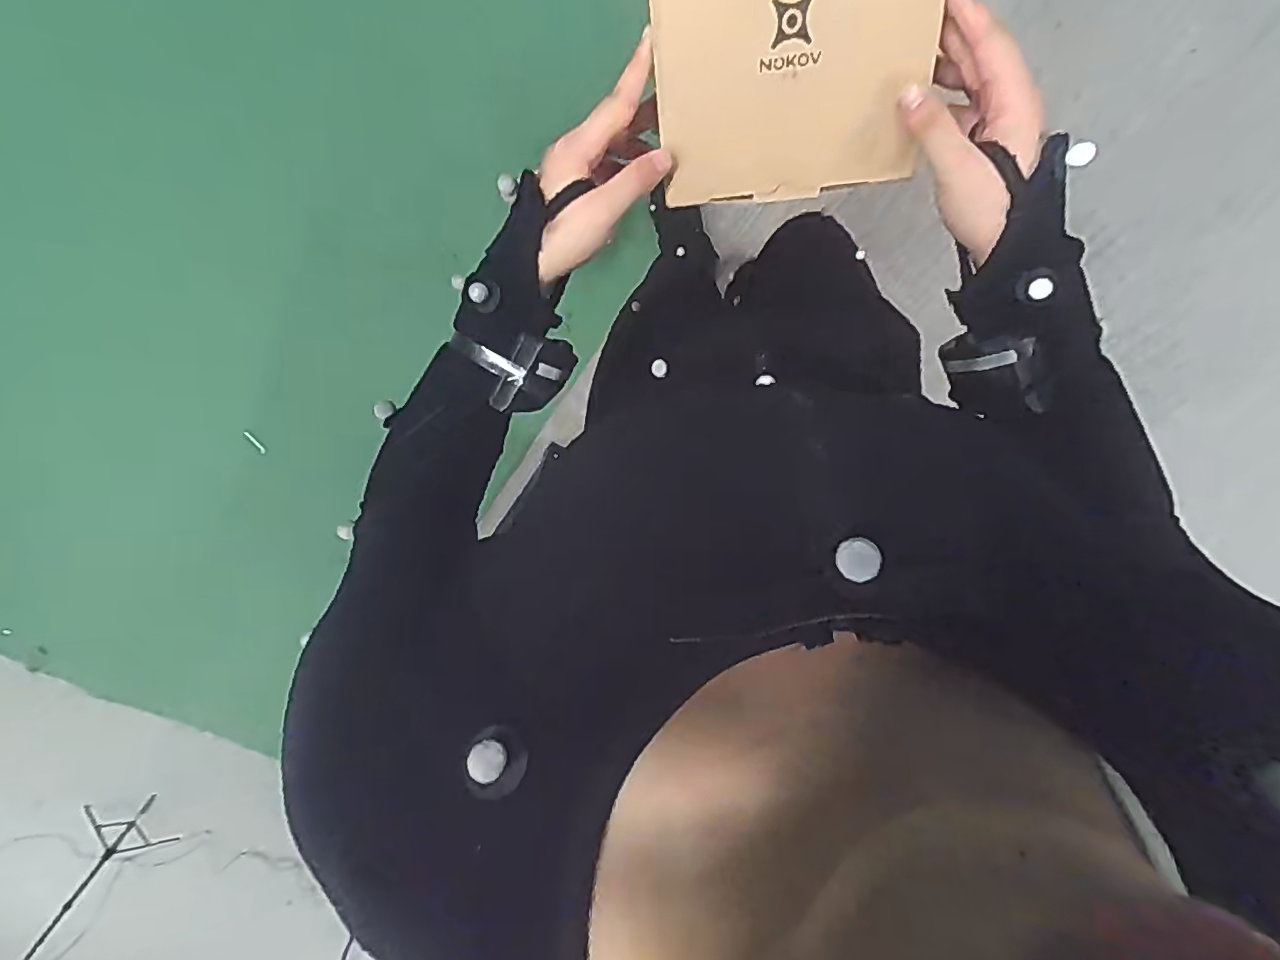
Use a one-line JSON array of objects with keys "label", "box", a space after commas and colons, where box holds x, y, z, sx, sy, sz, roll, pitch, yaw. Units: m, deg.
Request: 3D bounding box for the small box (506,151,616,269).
[{"label": "small box", "box": [-0.159, -0.585, 1.166, 0.168, 0.176, 0.179, -16, 121, 13]}]

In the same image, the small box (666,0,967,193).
[{"label": "small box", "box": [0.106, -0.315, 0.365, 0.168, 0.176, 0.179, -2, 127, 9]}]
